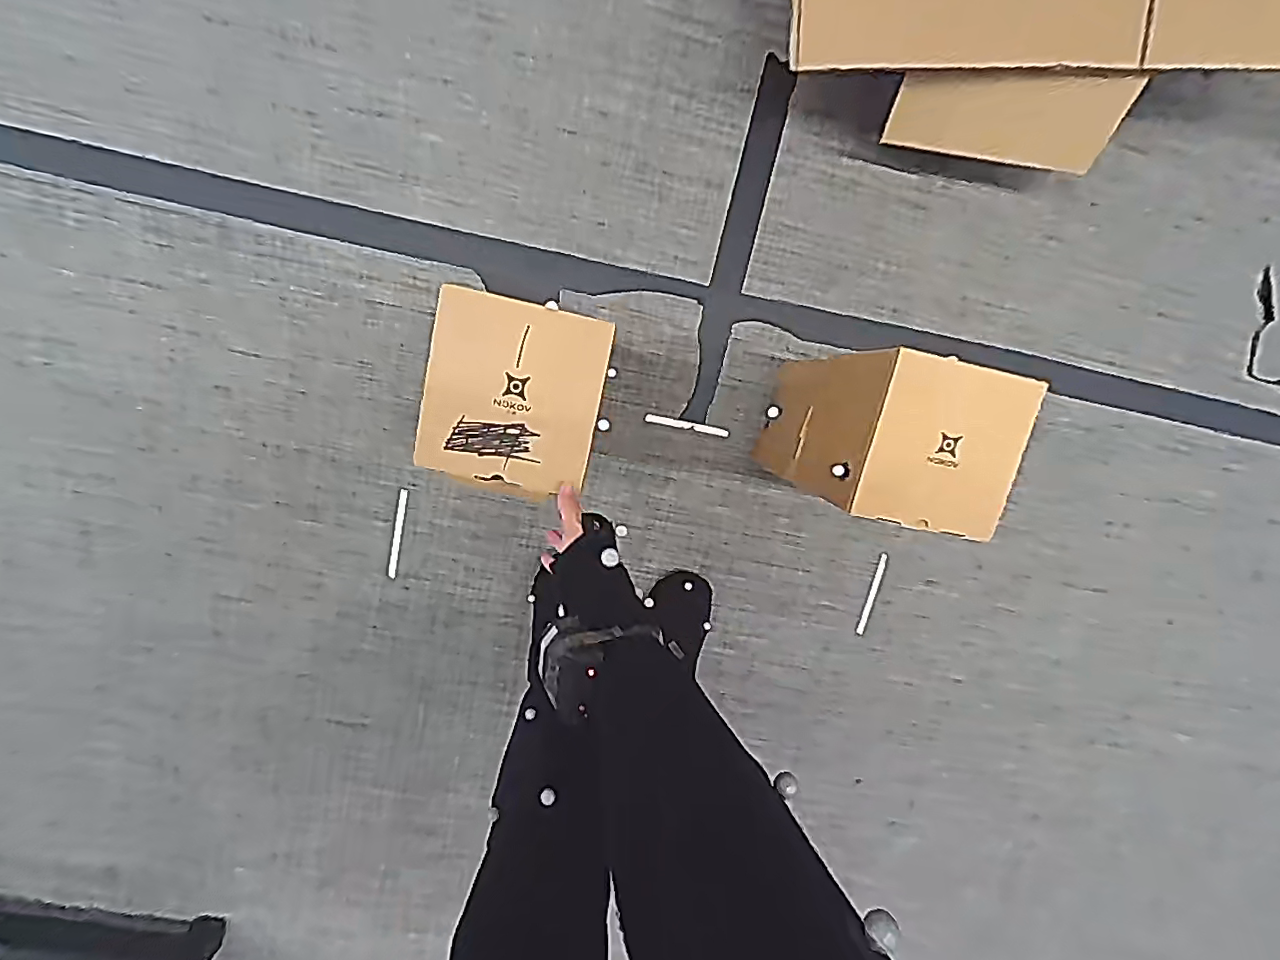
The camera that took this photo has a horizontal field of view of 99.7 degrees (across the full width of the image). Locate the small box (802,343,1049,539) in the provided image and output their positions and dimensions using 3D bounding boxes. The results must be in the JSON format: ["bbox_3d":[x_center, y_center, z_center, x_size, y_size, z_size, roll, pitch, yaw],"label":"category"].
[{"bbox_3d":[0.309,-0.053,0.627,0.168,0.176,0.179,11,102,-7],"label":"small box"}]

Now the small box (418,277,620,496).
[{"bbox_3d":[-0.120,-0.099,0.587,0.168,0.176,0.179,12,100,-6],"label":"small box"}]

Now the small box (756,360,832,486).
[{"bbox_3d":[0.295,-0.075,0.788,0.179,0.176,0.168,16,100,-8],"label":"small box"}]
